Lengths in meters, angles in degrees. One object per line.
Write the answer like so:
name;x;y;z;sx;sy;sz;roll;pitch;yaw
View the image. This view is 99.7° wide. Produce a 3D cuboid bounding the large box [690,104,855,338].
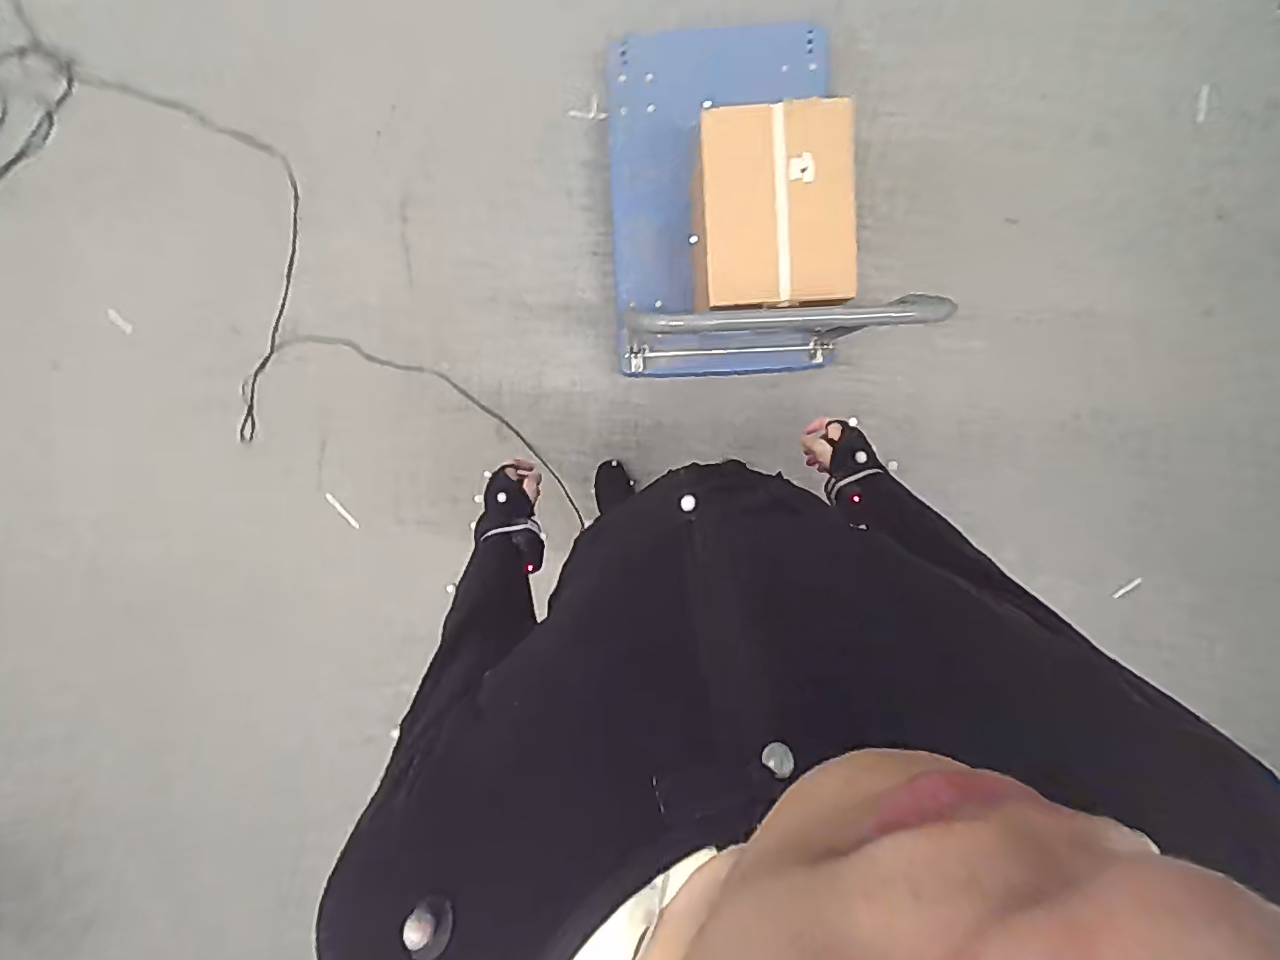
large box;0.289;-0.576;1.276;0.320;0.320;0.408;-3;93;0
